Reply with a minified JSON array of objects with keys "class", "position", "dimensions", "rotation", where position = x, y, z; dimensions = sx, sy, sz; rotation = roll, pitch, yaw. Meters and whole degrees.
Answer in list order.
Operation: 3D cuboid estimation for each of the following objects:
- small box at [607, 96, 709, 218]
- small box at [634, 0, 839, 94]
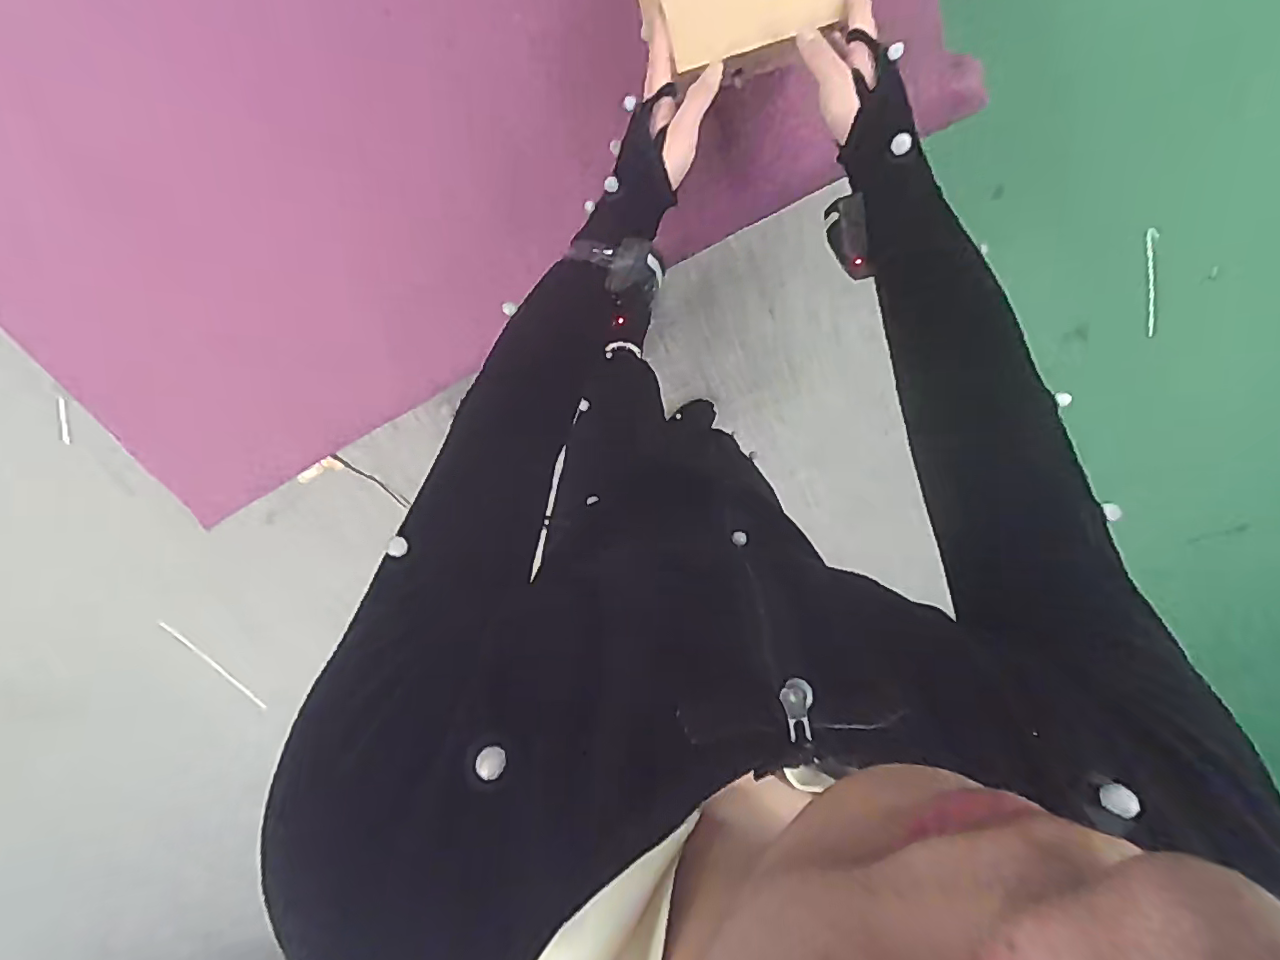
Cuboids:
[{"class":"small box","position":[0.038,-0.720,1.226],"dimensions":[0.168,0.176,0.179],"rotation":[-29,113,9]},{"class":"small box","position":[0.078,-0.502,0.524],"dimensions":[0.168,0.176,0.179],"rotation":[-14,116,5]}]
